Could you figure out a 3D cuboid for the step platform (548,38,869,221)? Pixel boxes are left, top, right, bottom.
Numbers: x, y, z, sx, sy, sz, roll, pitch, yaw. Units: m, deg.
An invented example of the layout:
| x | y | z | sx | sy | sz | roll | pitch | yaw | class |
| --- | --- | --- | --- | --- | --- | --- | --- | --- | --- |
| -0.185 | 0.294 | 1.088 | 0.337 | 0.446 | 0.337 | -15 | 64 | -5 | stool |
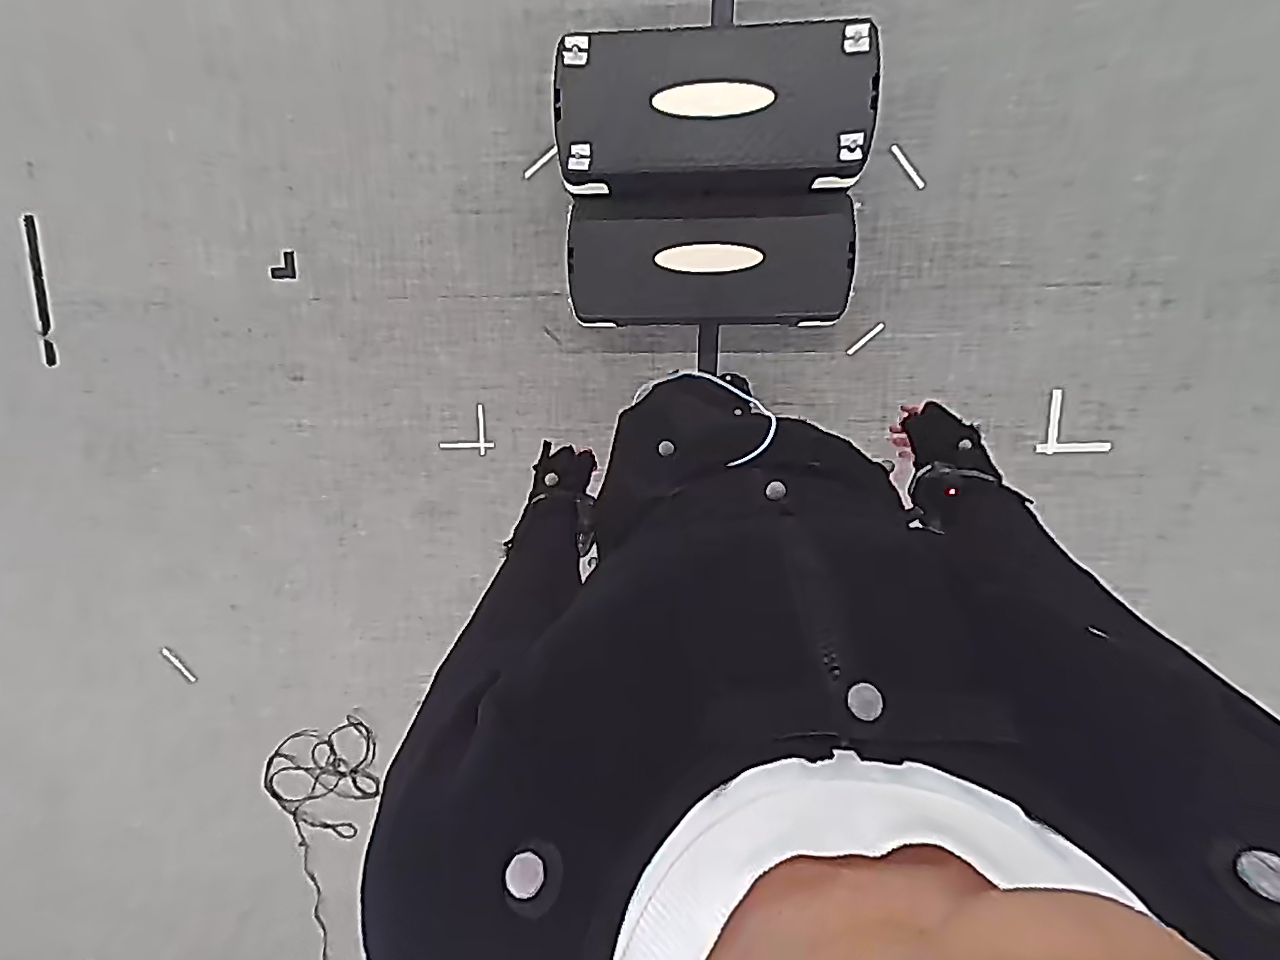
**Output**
| x | y | z | sx | sy | sz | roll | pitch | yaw | class |
| --- | --- | --- | --- | --- | --- | --- | --- | --- | --- |
| 0.141 | -0.765 | 1.204 | 0.684 | 0.204 | 0.286 | 0 | 101 | 4 | step platform |
